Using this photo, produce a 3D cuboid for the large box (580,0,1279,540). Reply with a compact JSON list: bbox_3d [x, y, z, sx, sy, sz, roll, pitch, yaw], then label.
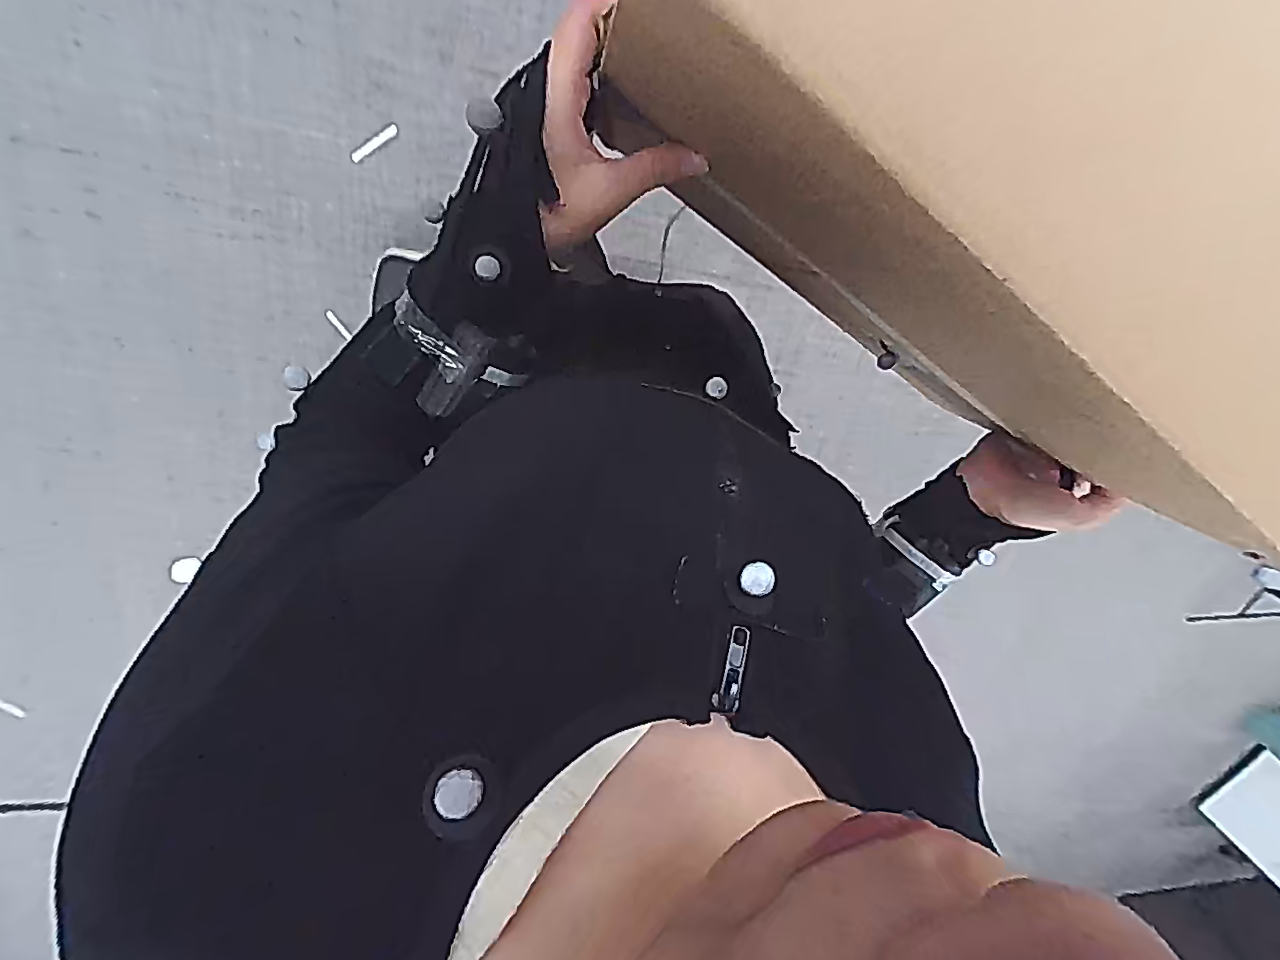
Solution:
[{"bbox_3d":[0.215,-0.238,0.286,0.408,0.320,0.320,28,110,-18],"label":"large box"}]
